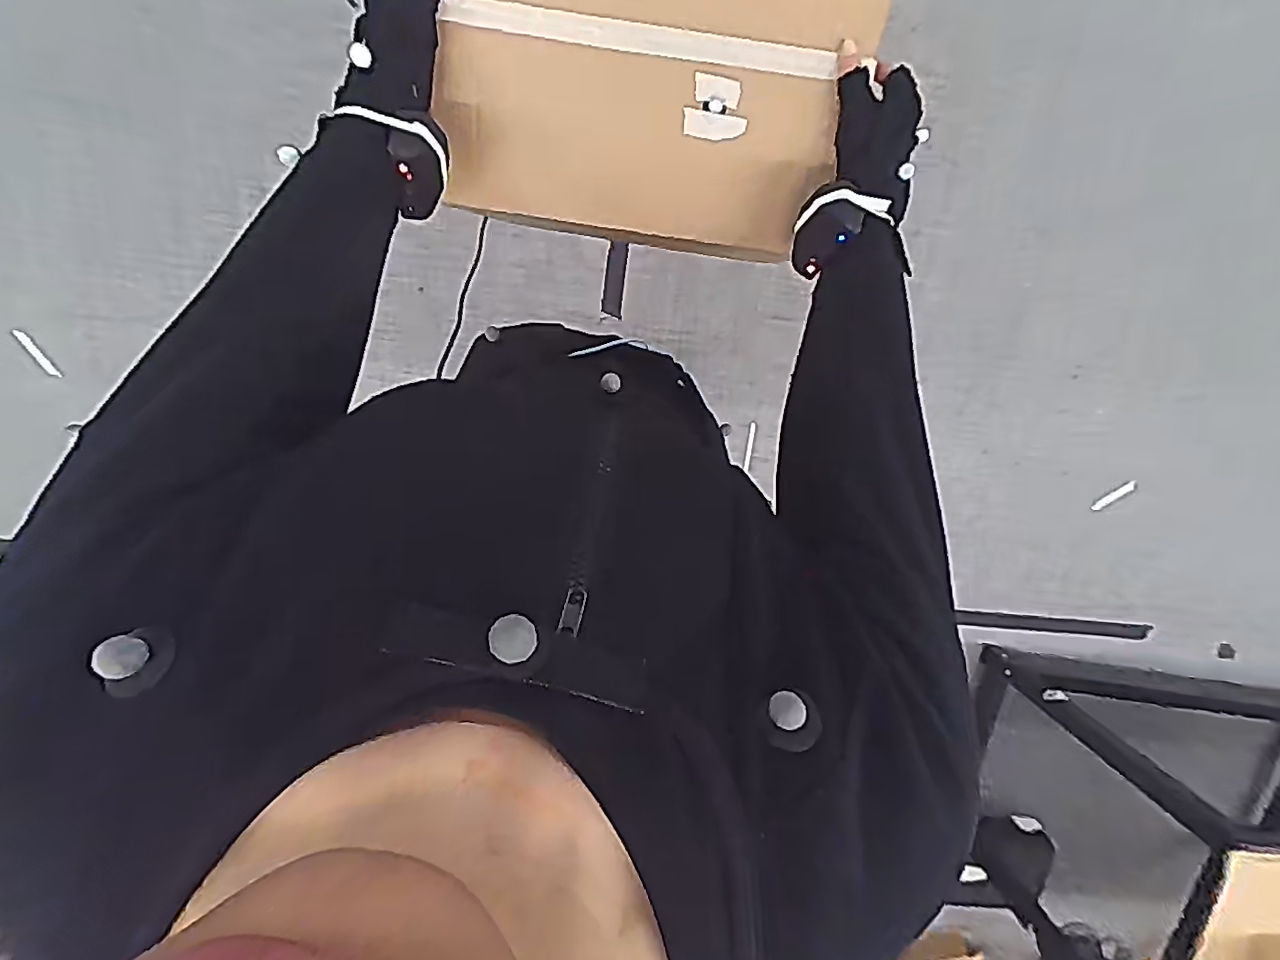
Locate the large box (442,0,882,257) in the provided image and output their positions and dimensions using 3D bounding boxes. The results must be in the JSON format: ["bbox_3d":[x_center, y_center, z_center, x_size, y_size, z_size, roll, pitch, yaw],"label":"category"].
[{"bbox_3d":[0.014,-0.454,0.641,0.408,0.320,0.320,7,112,-2],"label":"large box"}]
